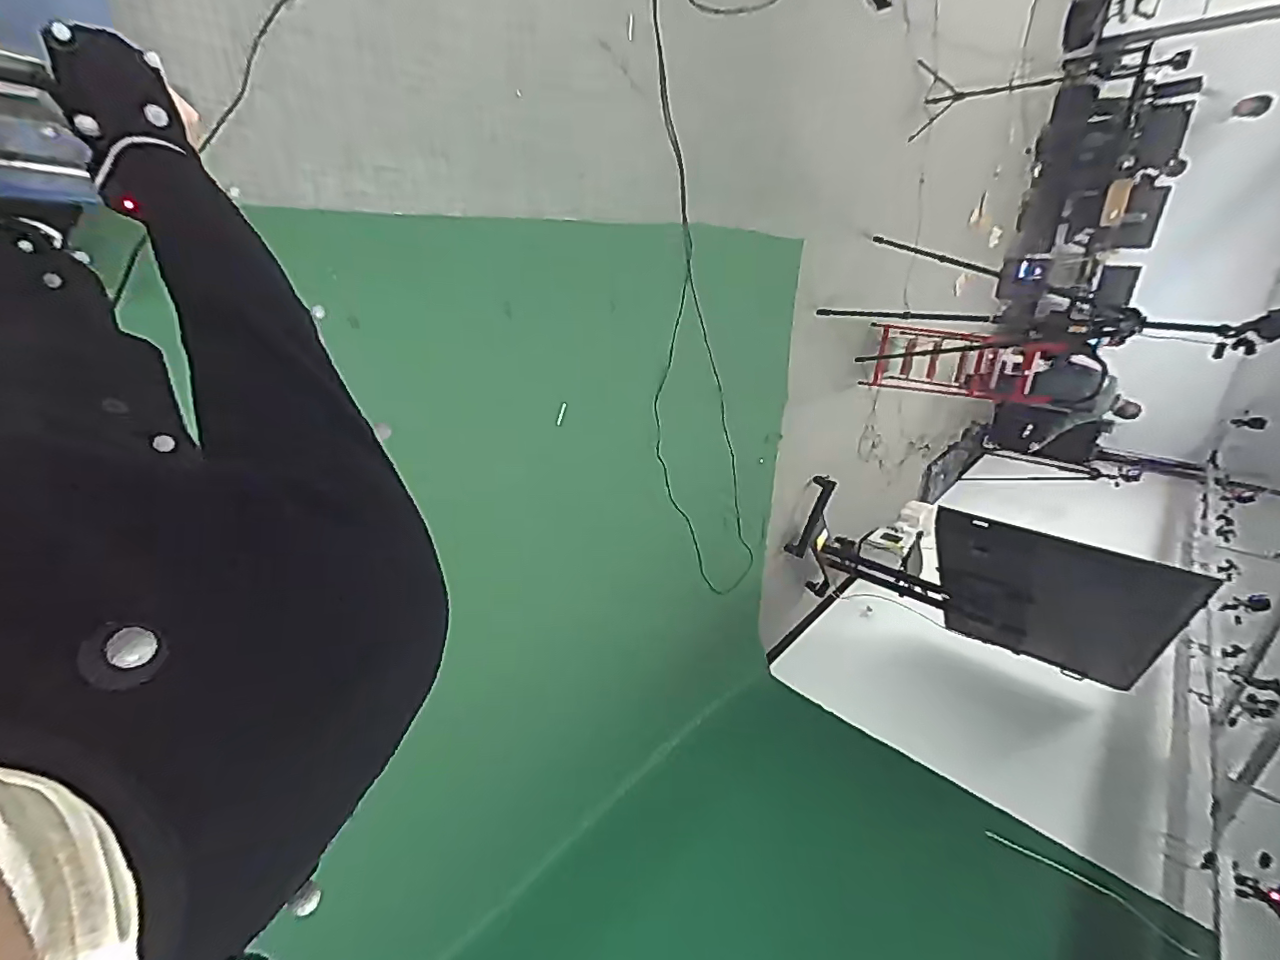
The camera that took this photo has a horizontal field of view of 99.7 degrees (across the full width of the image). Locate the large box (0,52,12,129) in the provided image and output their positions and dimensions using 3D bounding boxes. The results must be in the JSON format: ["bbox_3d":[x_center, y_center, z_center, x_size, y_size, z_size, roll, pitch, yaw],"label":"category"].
[{"bbox_3d":[-1.009,-0.678,0.610,0.320,0.320,0.408,-18,118,-45],"label":"large box"}]
